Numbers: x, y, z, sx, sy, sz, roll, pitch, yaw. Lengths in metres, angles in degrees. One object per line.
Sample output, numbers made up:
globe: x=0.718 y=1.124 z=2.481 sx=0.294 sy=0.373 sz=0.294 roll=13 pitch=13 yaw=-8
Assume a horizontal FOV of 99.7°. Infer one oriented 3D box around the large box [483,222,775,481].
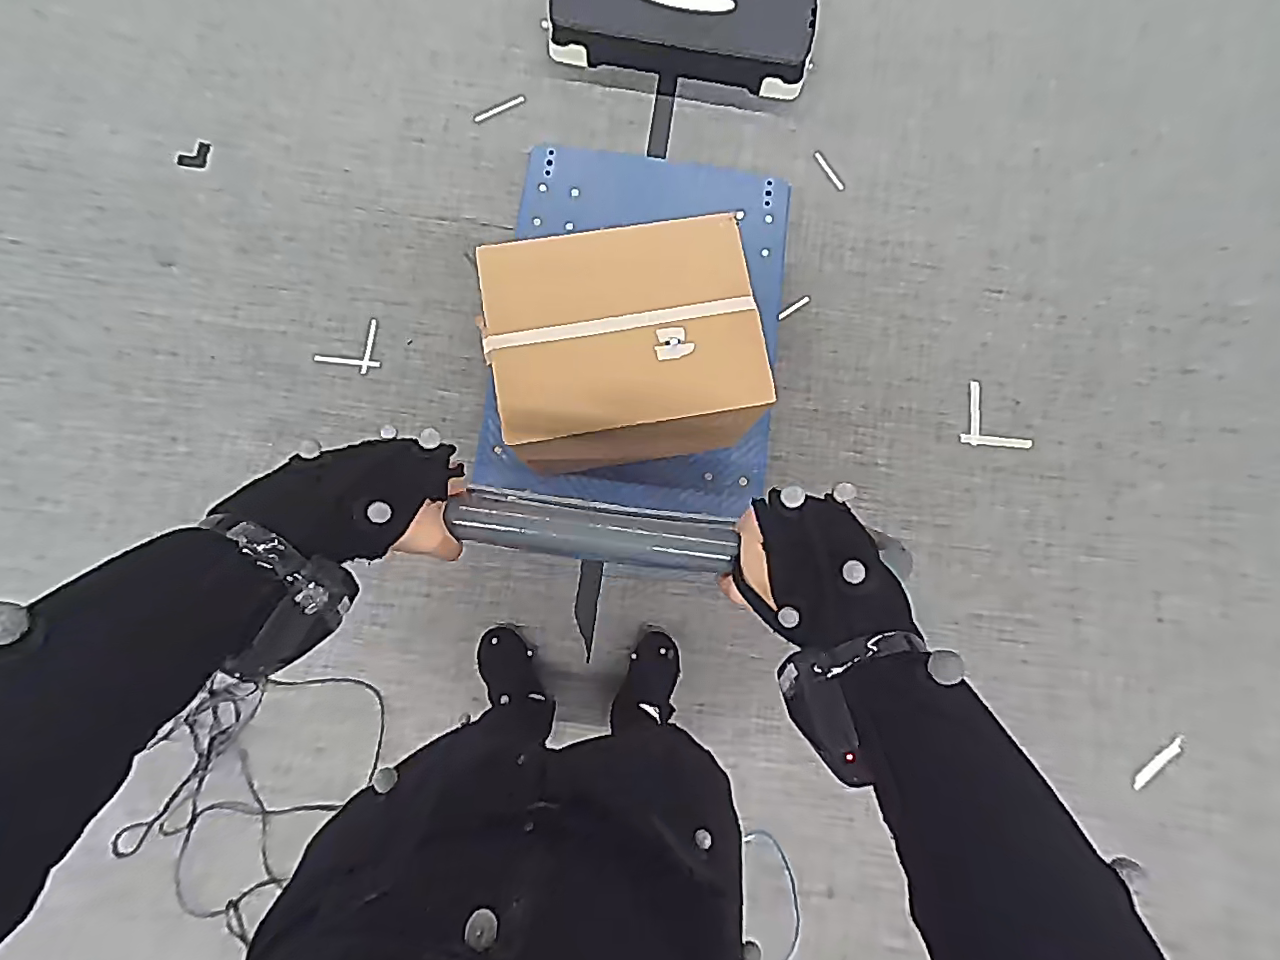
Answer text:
large box: x=-0.027 y=-0.202 z=0.960 sx=0.408 sy=0.320 sz=0.320 roll=-9 pitch=82 yaw=-5
